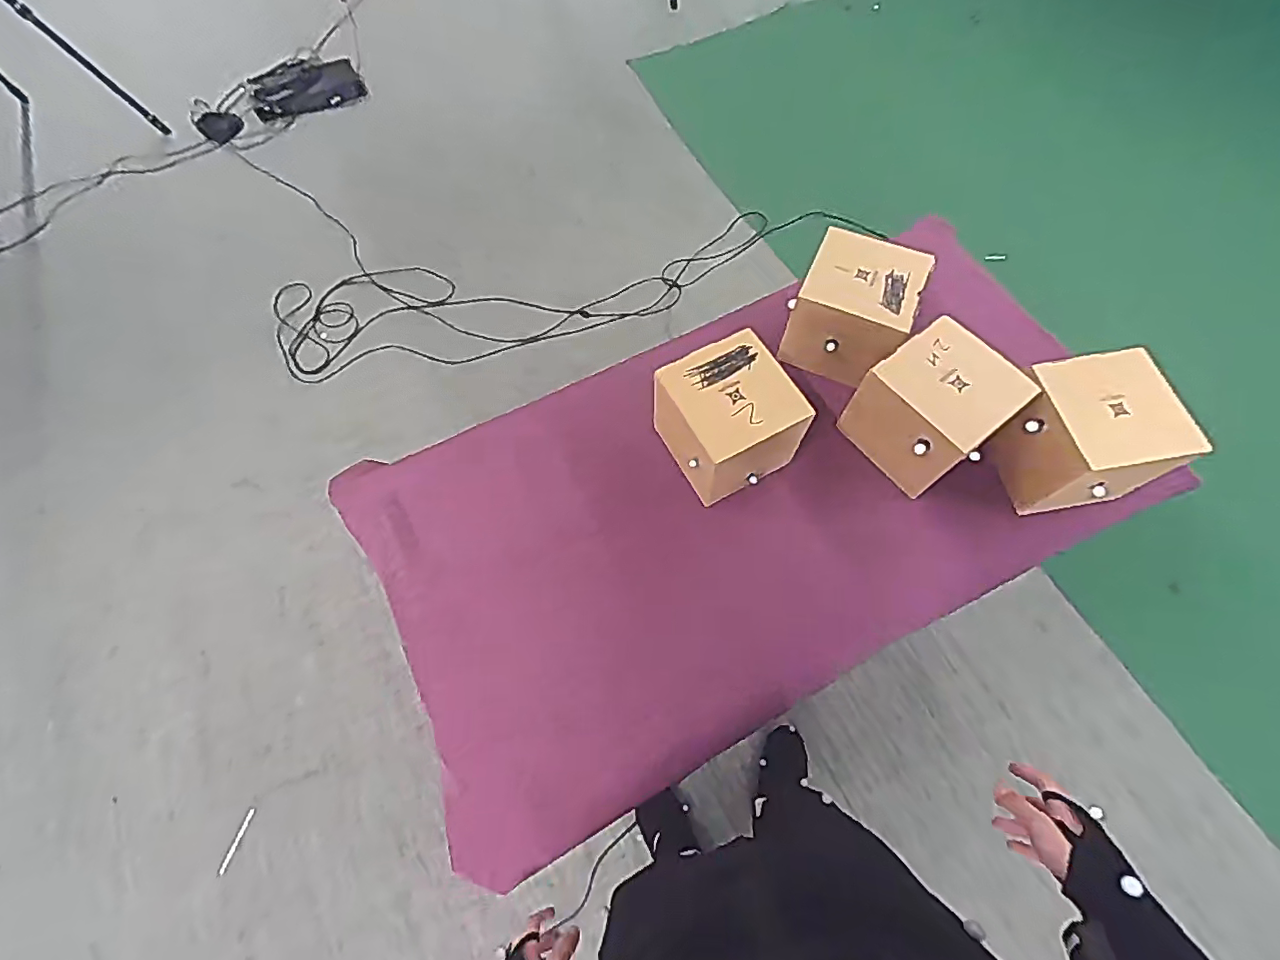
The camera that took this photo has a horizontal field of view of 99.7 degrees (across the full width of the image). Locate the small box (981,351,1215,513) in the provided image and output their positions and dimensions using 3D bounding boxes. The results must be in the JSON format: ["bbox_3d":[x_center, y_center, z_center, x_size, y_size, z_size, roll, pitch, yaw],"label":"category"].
[{"bbox_3d":[0.656,-0.060,0.804,0.168,0.176,0.179,-9,64,-1],"label":"small box"}]
